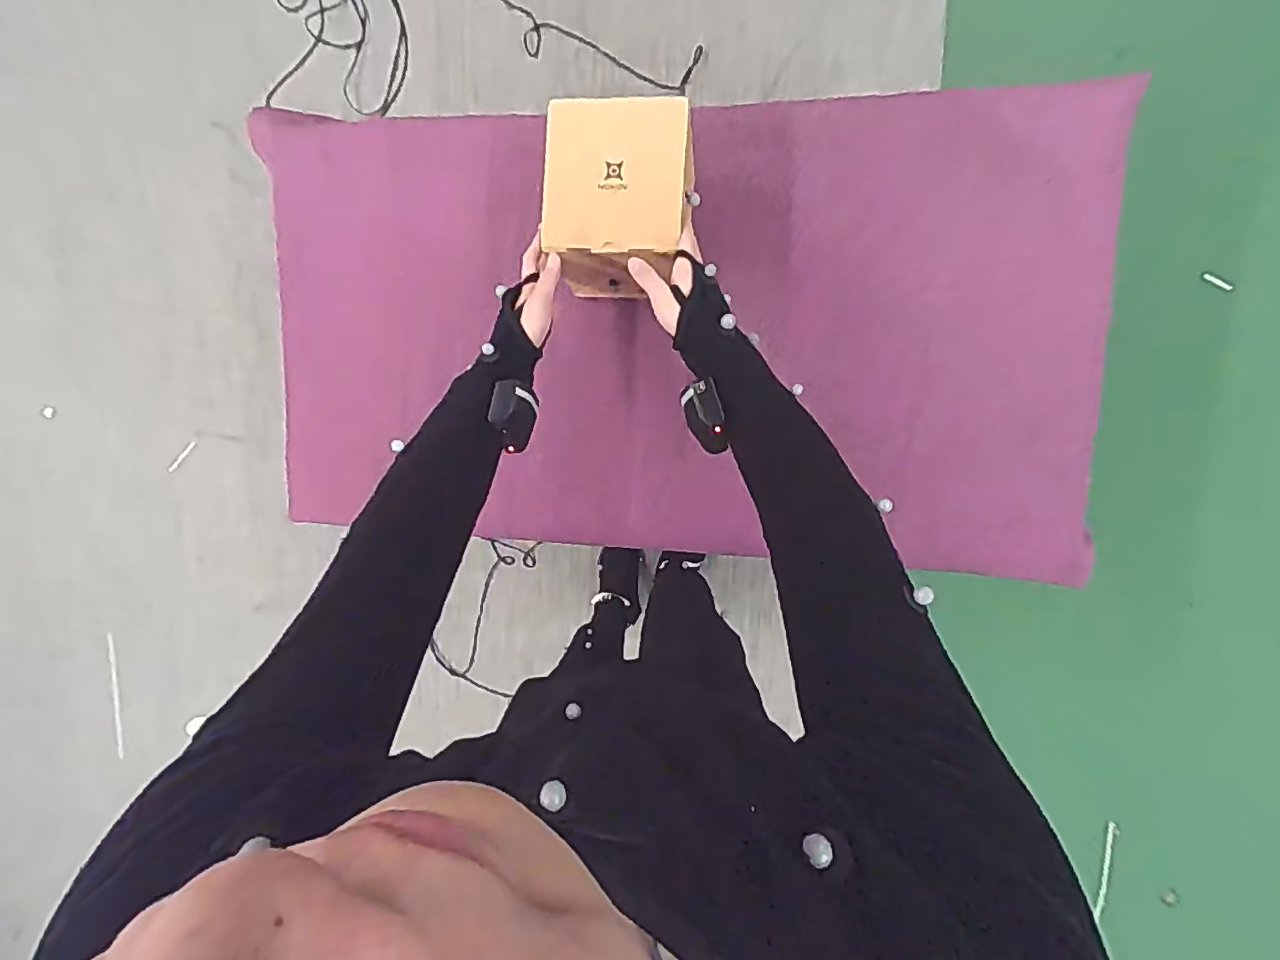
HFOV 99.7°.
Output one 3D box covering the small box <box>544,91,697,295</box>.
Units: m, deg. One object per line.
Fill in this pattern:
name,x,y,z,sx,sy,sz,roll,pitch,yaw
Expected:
small box,-0.016,-0.352,0.689,0.168,0.176,0.179,3,93,6
